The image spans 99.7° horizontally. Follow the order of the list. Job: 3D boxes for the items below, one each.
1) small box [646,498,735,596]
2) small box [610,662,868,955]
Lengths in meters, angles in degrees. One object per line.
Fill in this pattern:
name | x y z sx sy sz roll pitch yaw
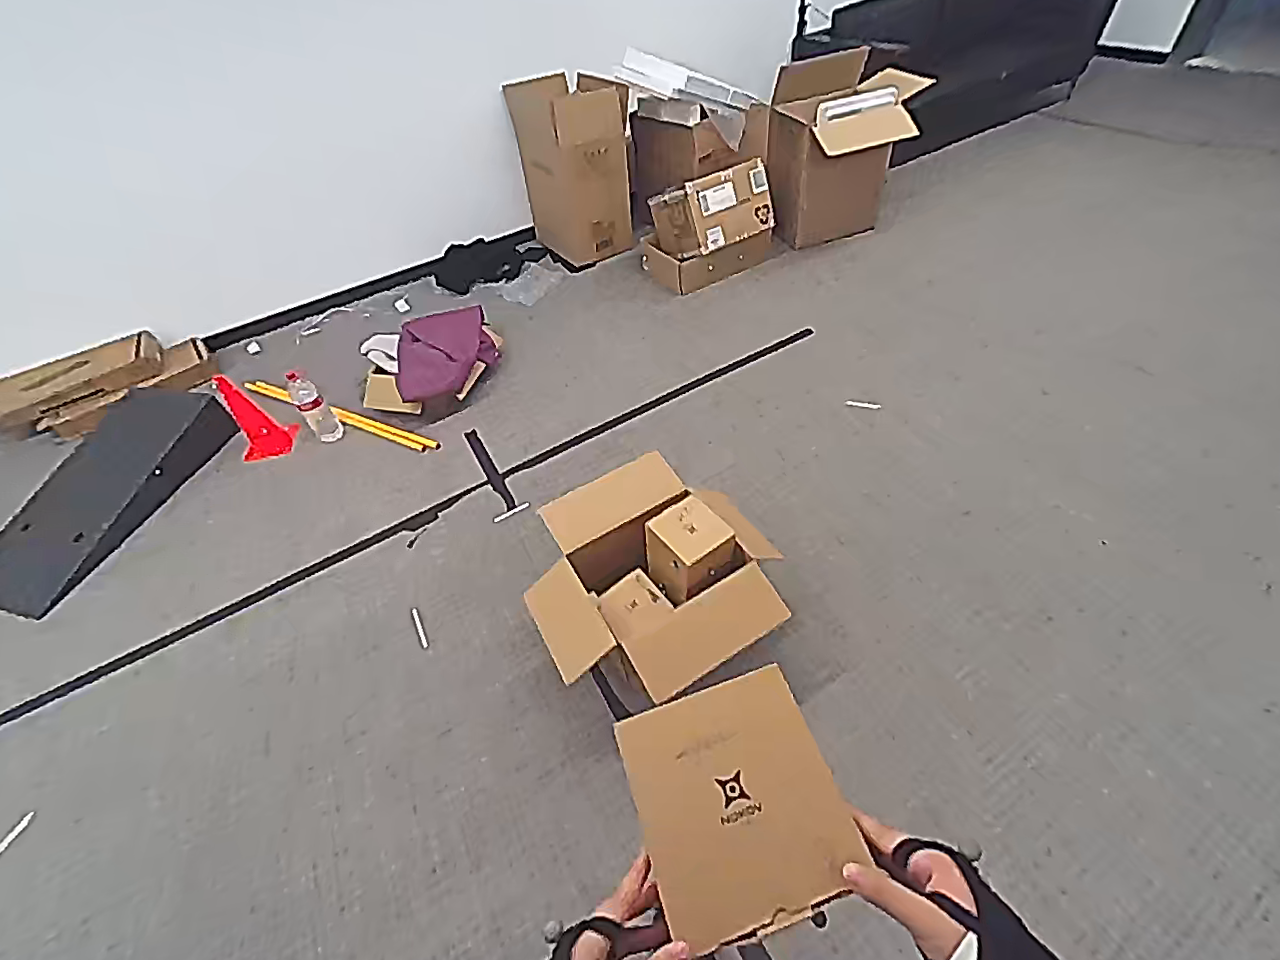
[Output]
small box | 0.134 0.187 1.452 0.168 0.176 0.179 -30 51 -23
small box | 0.083 0.308 0.515 0.168 0.176 0.179 -18 50 -7
